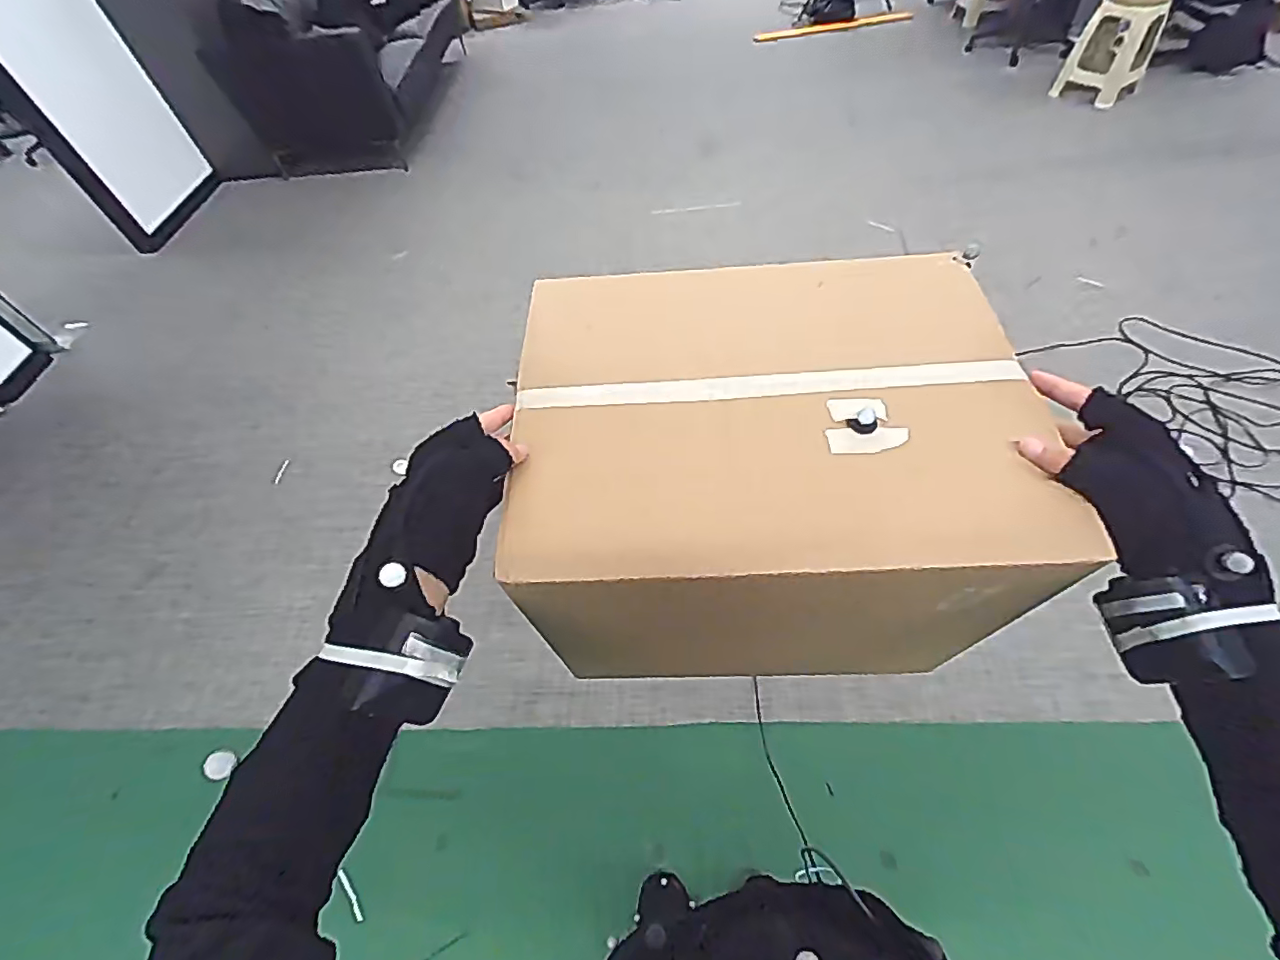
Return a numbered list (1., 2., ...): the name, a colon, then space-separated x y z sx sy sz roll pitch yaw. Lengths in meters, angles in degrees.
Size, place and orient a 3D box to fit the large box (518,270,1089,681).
1. large box: 0.113 0.015 0.577 0.408 0.320 0.320 -3 58 2
